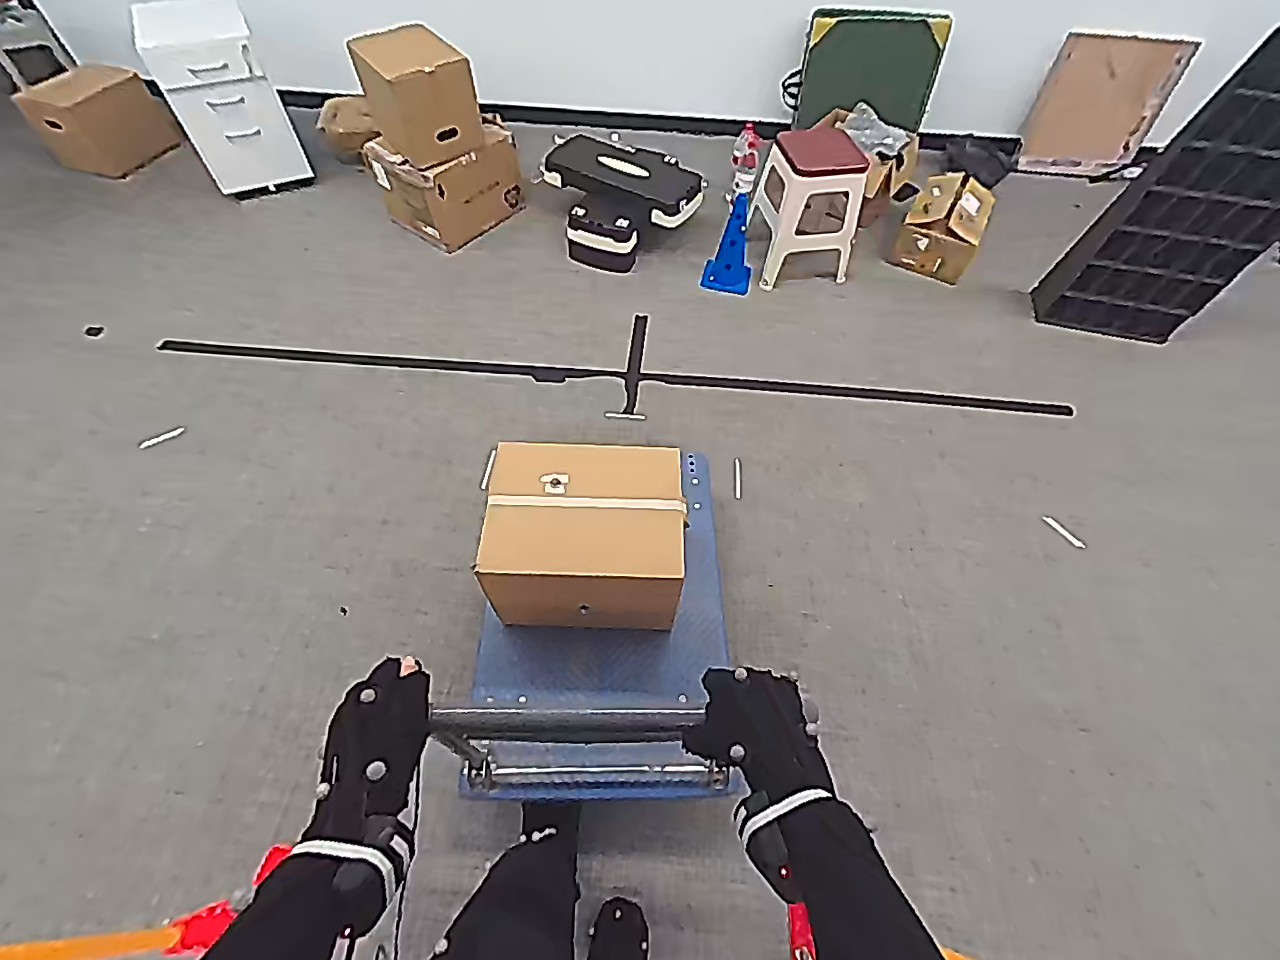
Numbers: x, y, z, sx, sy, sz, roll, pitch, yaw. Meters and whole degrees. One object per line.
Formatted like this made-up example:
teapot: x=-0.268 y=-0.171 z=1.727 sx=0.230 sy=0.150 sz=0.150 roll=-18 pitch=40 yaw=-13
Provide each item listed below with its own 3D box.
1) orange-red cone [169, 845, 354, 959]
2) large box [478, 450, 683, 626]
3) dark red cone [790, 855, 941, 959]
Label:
orange-red cone: x=-0.712 y=0.789 z=0.973 sx=0.198 sy=0.360 sz=0.199 roll=12 pitch=55 yaw=5
large box: x=-0.115 y=0.143 z=1.250 sx=0.408 sy=0.320 sz=0.320 roll=2 pitch=56 yaw=0
dark red cone: x=0.422 y=0.807 z=0.973 sx=0.201 sy=0.394 sz=0.202 roll=6 pitch=56 yaw=0
